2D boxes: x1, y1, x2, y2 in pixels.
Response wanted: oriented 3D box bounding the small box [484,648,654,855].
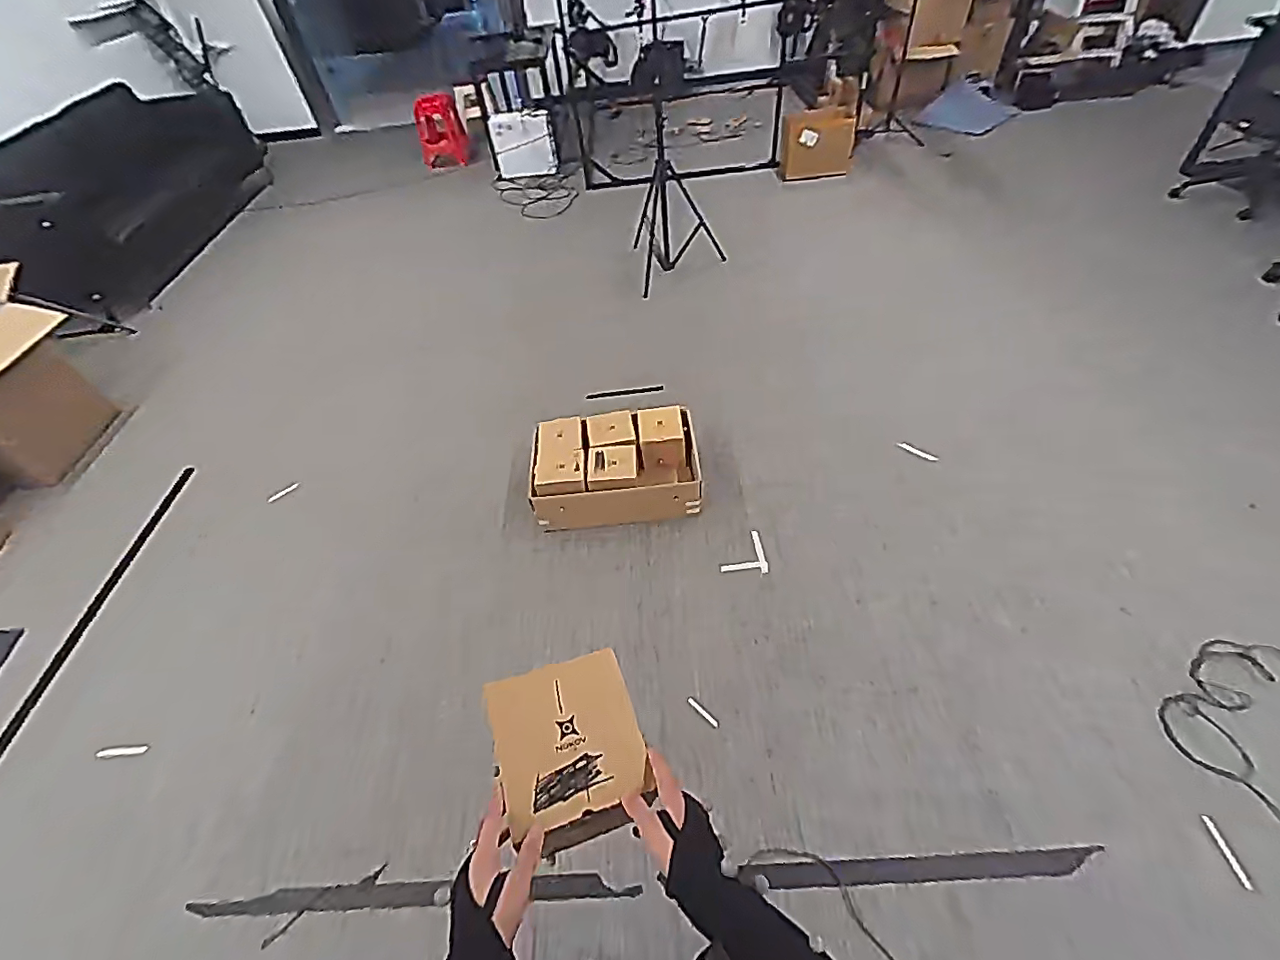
[{"bbox_3d":[-0.090,0.346,0.682,0.168,0.176,0.179,-12,51,-16],"label":"small box"}]
